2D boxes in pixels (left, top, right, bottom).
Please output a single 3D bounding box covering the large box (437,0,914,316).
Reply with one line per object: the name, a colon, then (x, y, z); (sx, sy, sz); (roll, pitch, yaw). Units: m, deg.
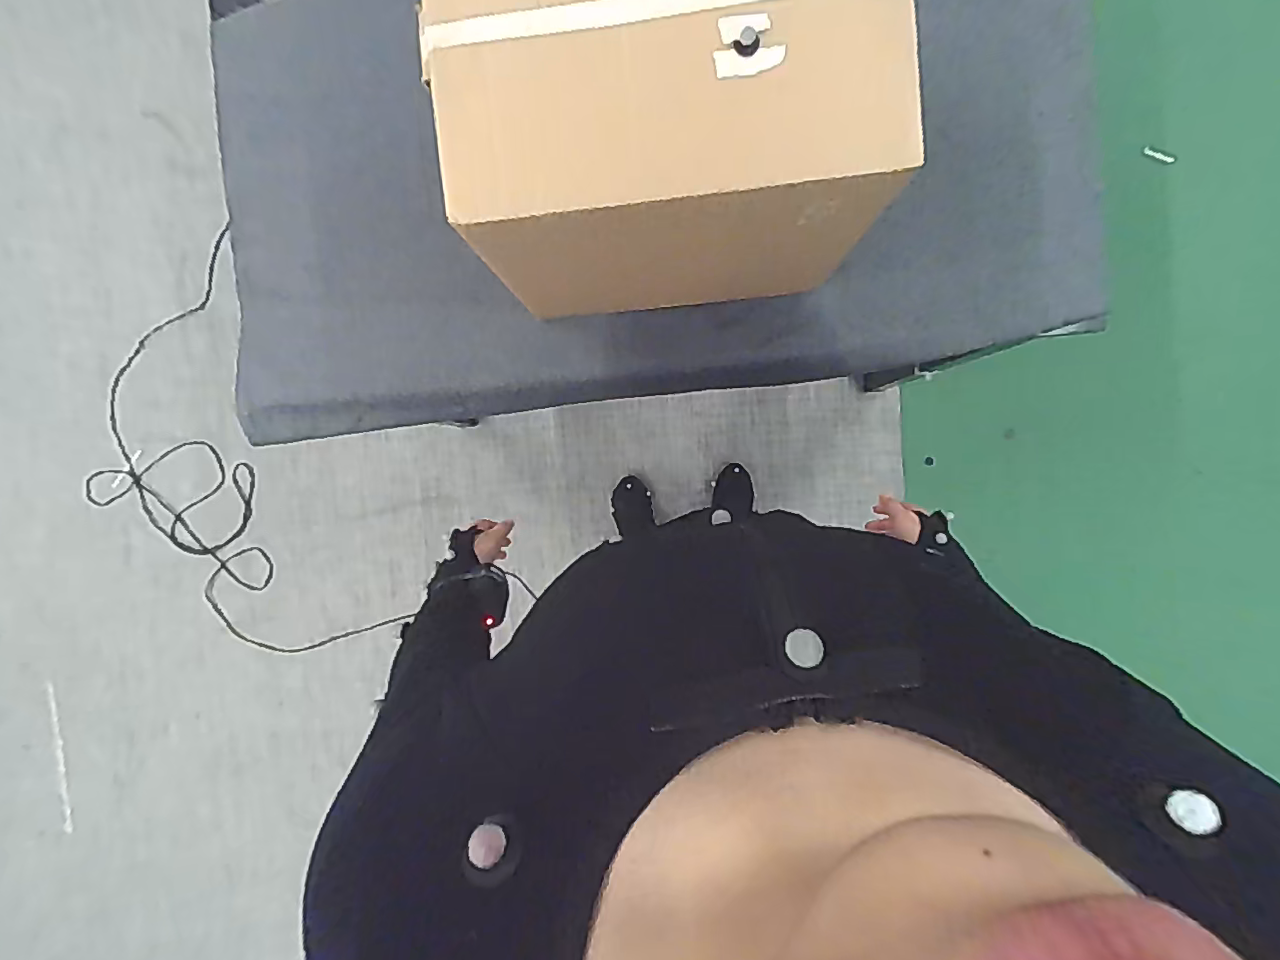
large box: (0.027, -0.403, 0.616); (0.408, 0.320, 0.320); (-6, 92, 3)
